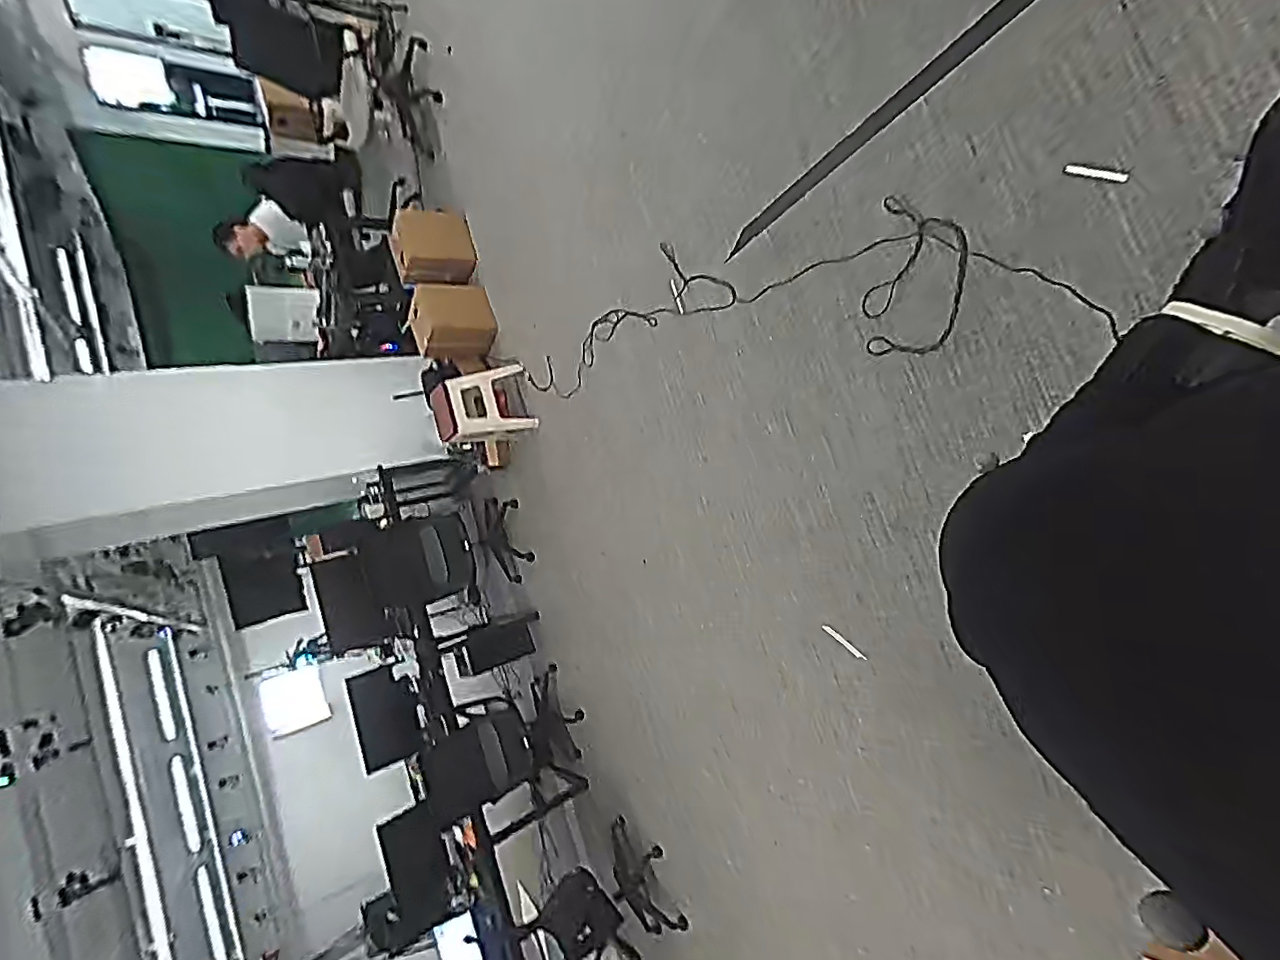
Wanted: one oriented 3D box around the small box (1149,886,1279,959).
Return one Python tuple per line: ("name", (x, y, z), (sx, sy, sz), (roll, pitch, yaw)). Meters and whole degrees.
("small box", (0.746, 0.616, 0.618), (0.179, 0.176, 0.168), (-27, 77, 57))
